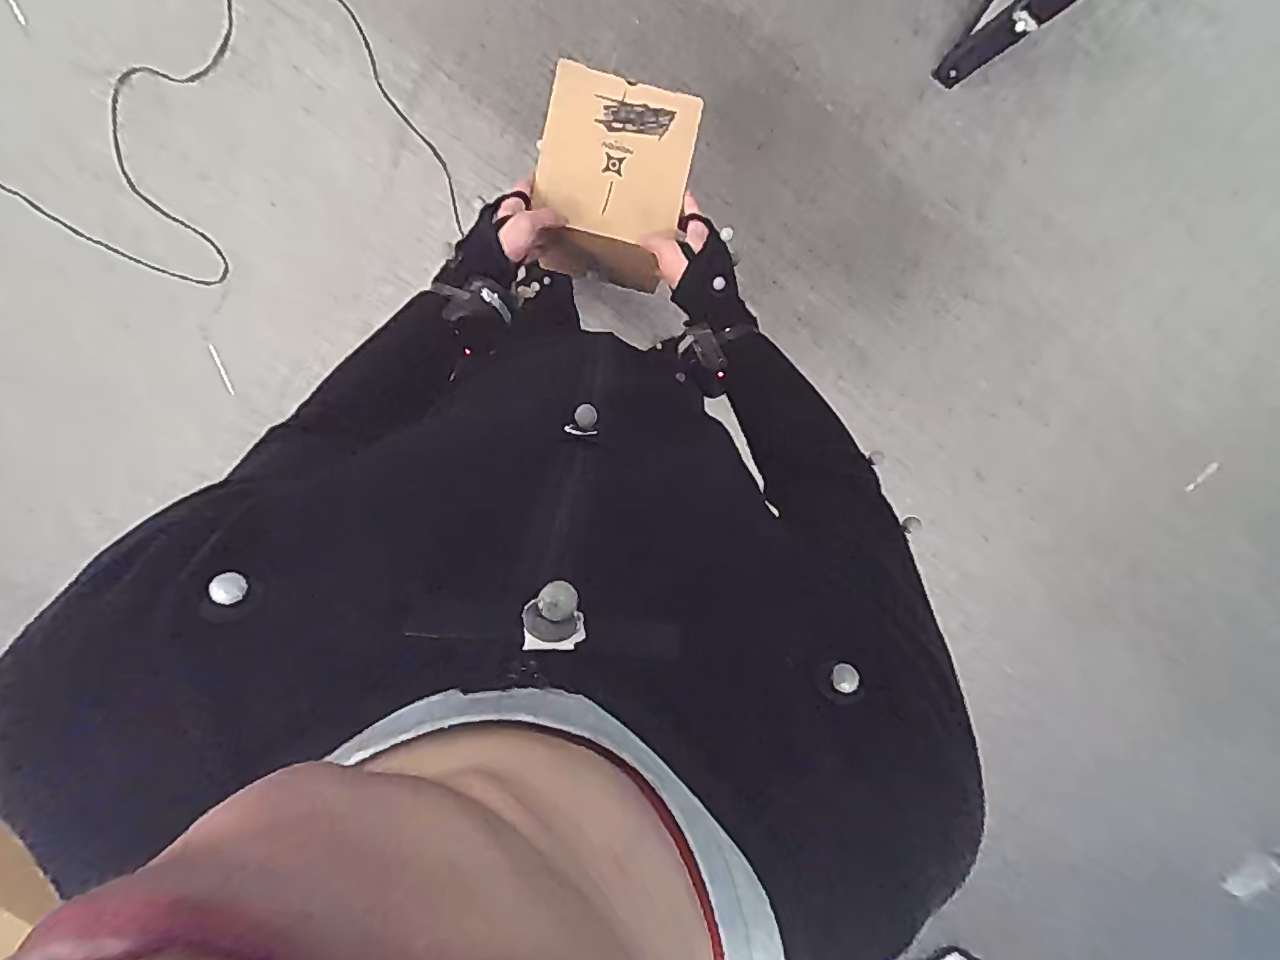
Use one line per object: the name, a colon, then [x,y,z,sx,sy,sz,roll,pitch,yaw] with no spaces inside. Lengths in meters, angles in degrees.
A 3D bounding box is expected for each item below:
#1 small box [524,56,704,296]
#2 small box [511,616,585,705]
small box: [-0.035,-0.350,0.660,0.168,0.176,0.179,13,92,-6]
small box: [-0.283,0.562,1.701,0.168,0.176,0.179,24,110,-5]
